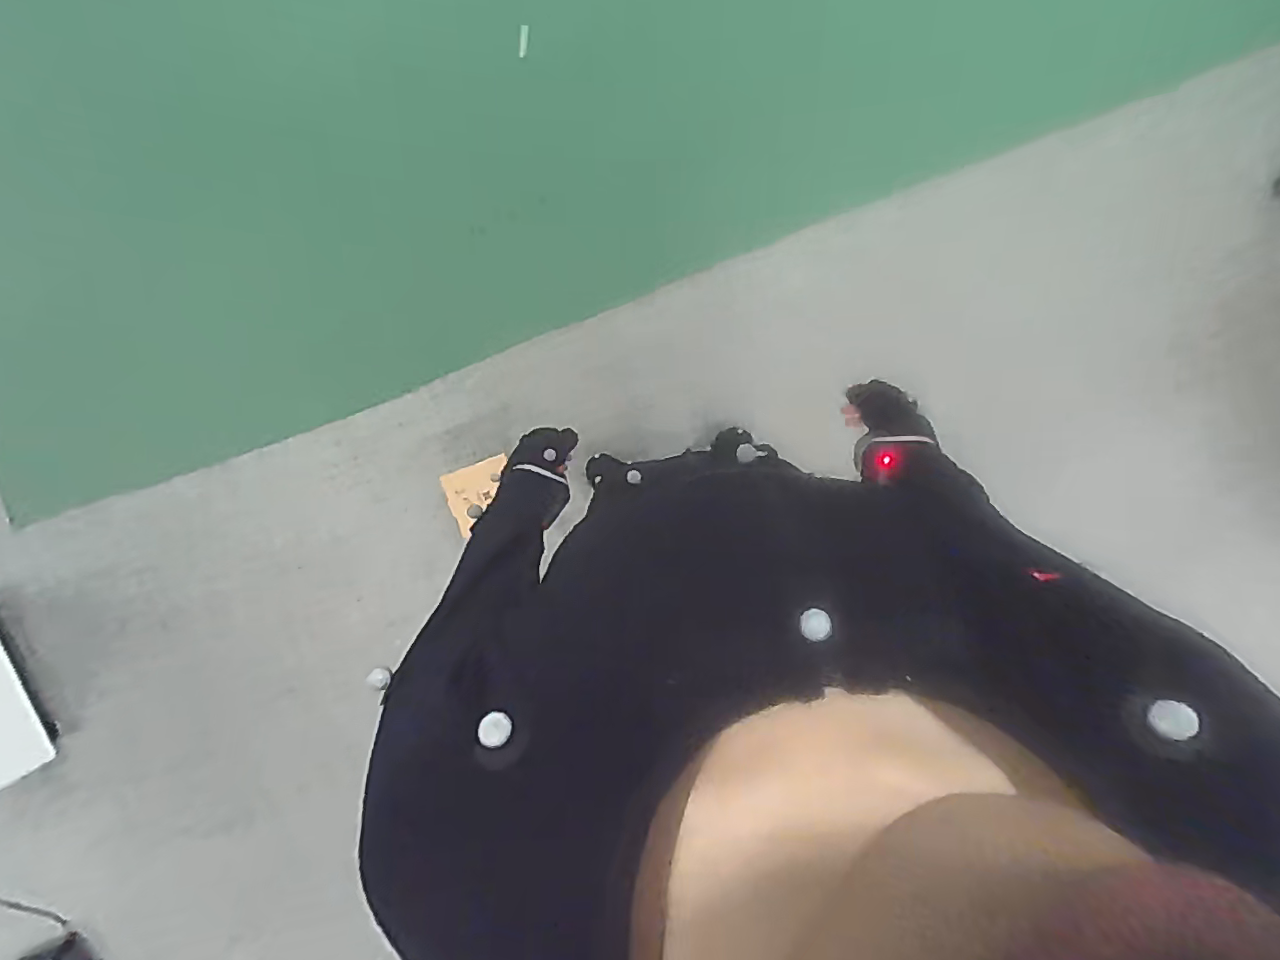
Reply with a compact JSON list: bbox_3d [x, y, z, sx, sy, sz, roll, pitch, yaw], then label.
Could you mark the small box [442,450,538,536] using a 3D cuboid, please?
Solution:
[{"bbox_3d":[-0.374,0.025,1.392,0.179,0.176,0.168,-21,95,1],"label":"small box"}]
